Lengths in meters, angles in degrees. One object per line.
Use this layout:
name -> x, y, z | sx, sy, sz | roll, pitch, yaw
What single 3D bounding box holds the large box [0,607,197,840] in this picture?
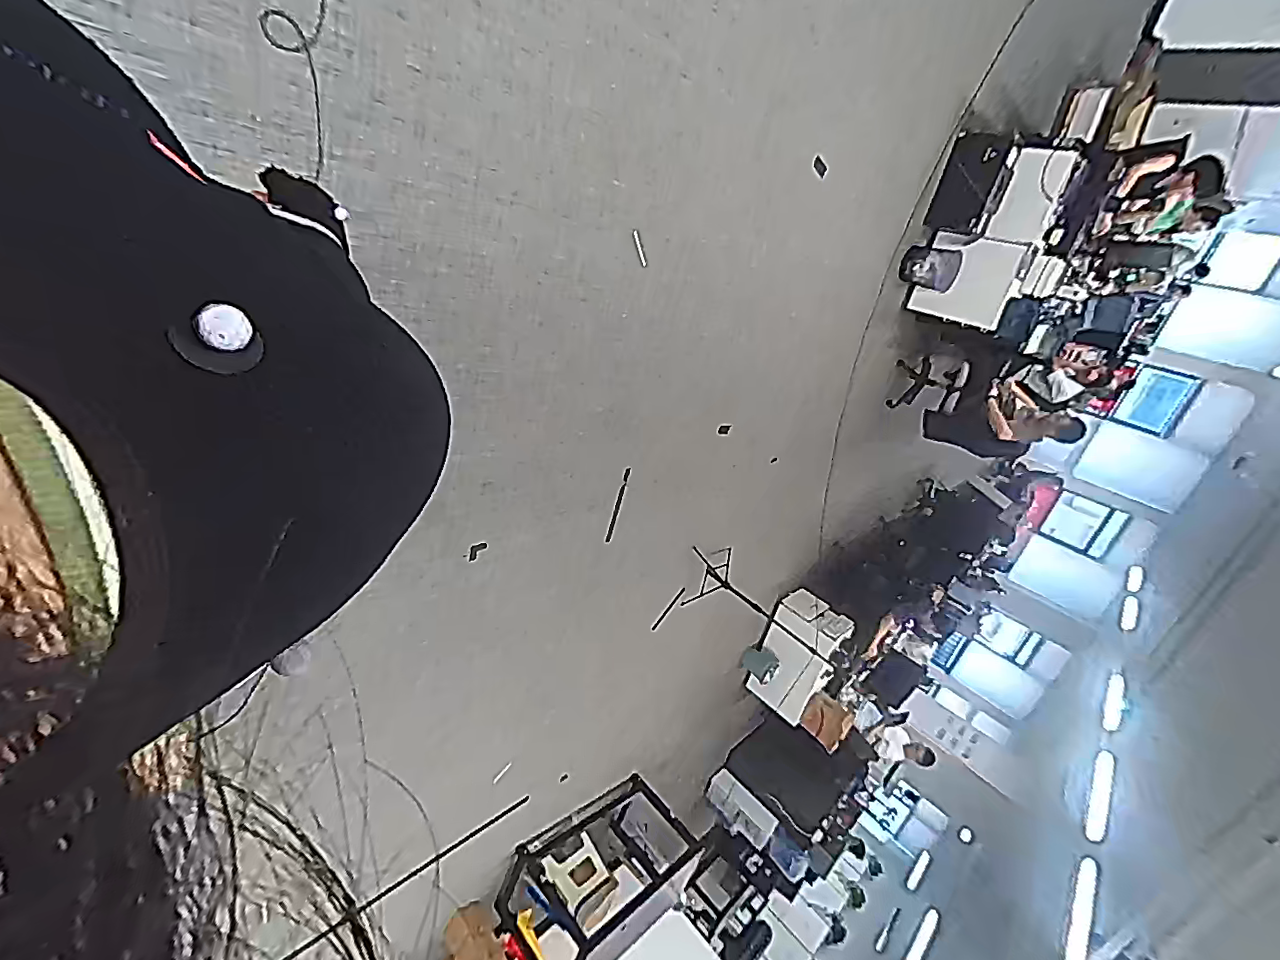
large box -> -1.297, 0.530, 1.221 | 0.408, 0.320, 0.320 | -2, 118, -49
